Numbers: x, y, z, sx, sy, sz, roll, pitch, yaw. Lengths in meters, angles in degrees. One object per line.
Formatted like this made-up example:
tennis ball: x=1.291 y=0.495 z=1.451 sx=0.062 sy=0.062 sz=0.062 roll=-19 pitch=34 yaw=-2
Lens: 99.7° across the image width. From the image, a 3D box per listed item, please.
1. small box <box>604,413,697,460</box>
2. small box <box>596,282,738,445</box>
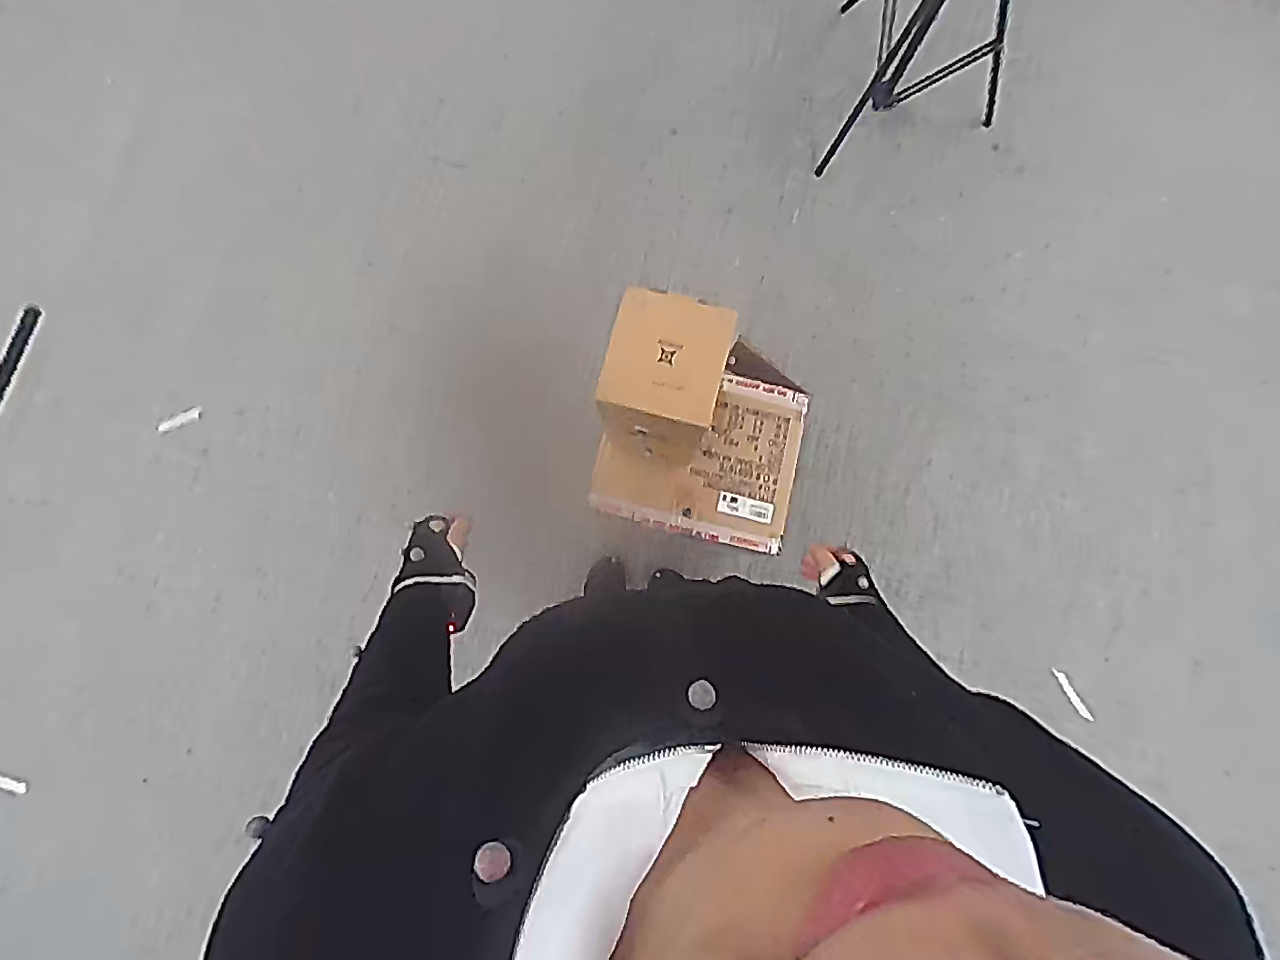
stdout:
small box: x=0.038 y=-0.149 z=0.988 sx=0.168 sy=0.176 sz=0.179 roll=15 pitch=84 yaw=3
small box: x=0.039 y=-0.168 z=0.827 sx=0.168 sy=0.176 sz=0.179 roll=15 pitch=84 yaw=3
